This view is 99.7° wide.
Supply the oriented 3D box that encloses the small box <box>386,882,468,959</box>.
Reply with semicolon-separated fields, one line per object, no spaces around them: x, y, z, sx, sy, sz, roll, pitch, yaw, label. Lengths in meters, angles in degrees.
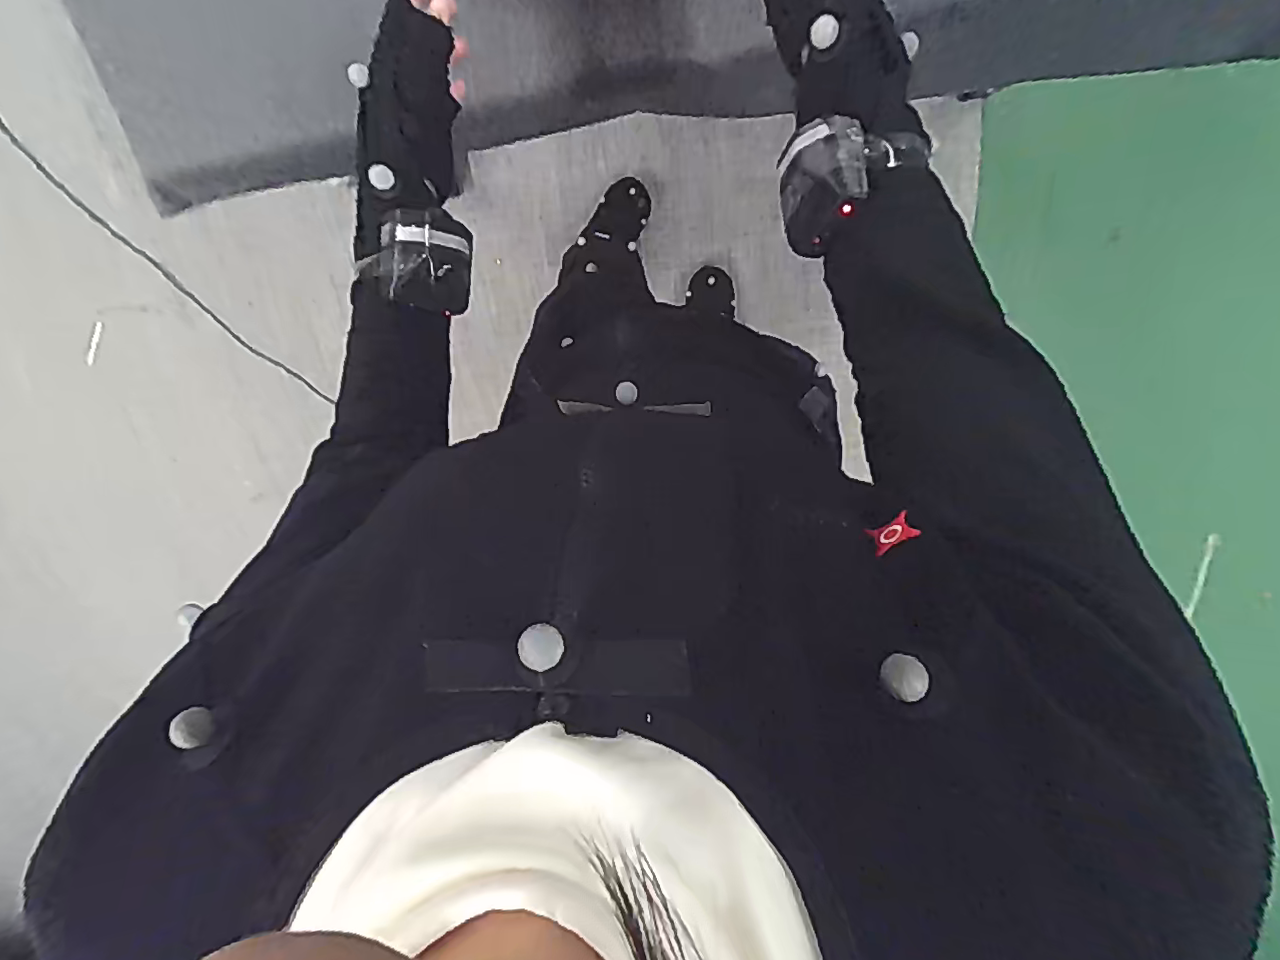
-0.599;1.281;1.520;0.168;0.176;0.179;17;112;-3;small box
